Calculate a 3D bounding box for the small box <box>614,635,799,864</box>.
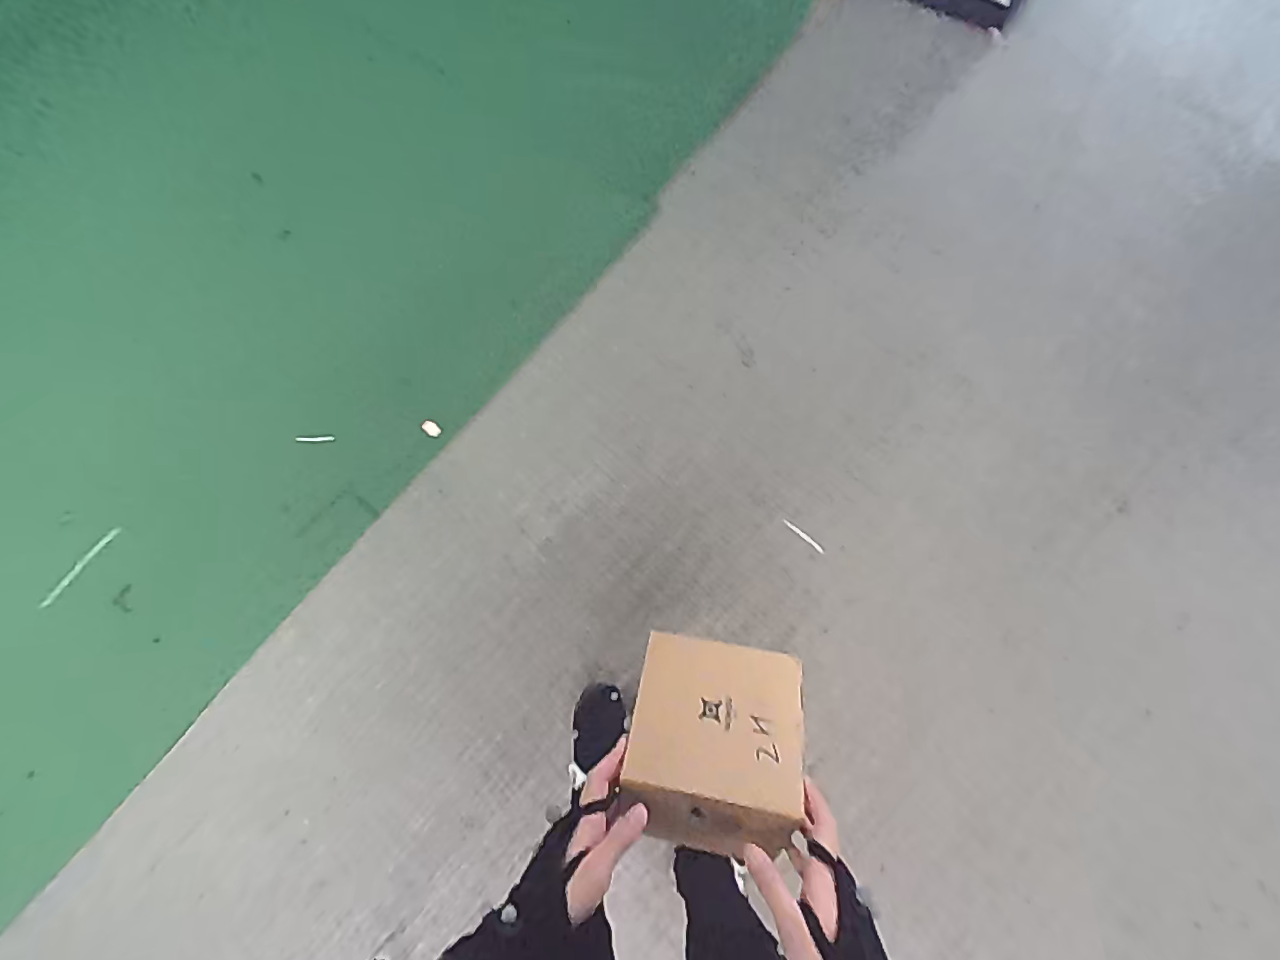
[{"bbox_3d":[0.075,0.304,0.611,0.179,0.176,0.168,8,42,8],"label":"small box"}]
